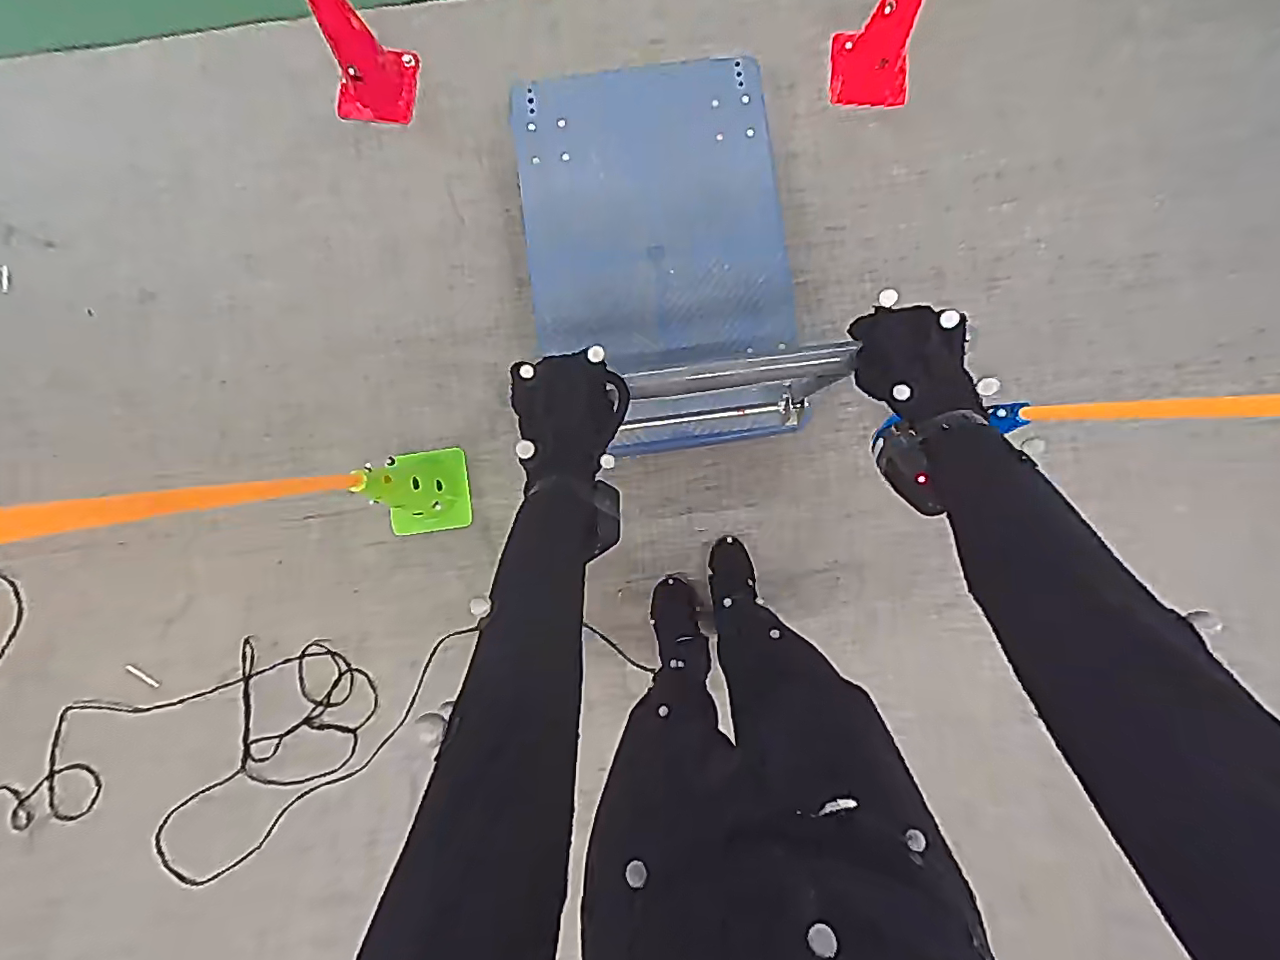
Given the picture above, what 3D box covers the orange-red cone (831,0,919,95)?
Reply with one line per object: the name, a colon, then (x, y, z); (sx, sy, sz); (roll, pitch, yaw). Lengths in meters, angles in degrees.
orange-red cone: (0.590, -1.099, 1.224); (0.198, 0.360, 0.199); (4, 88, 2)
